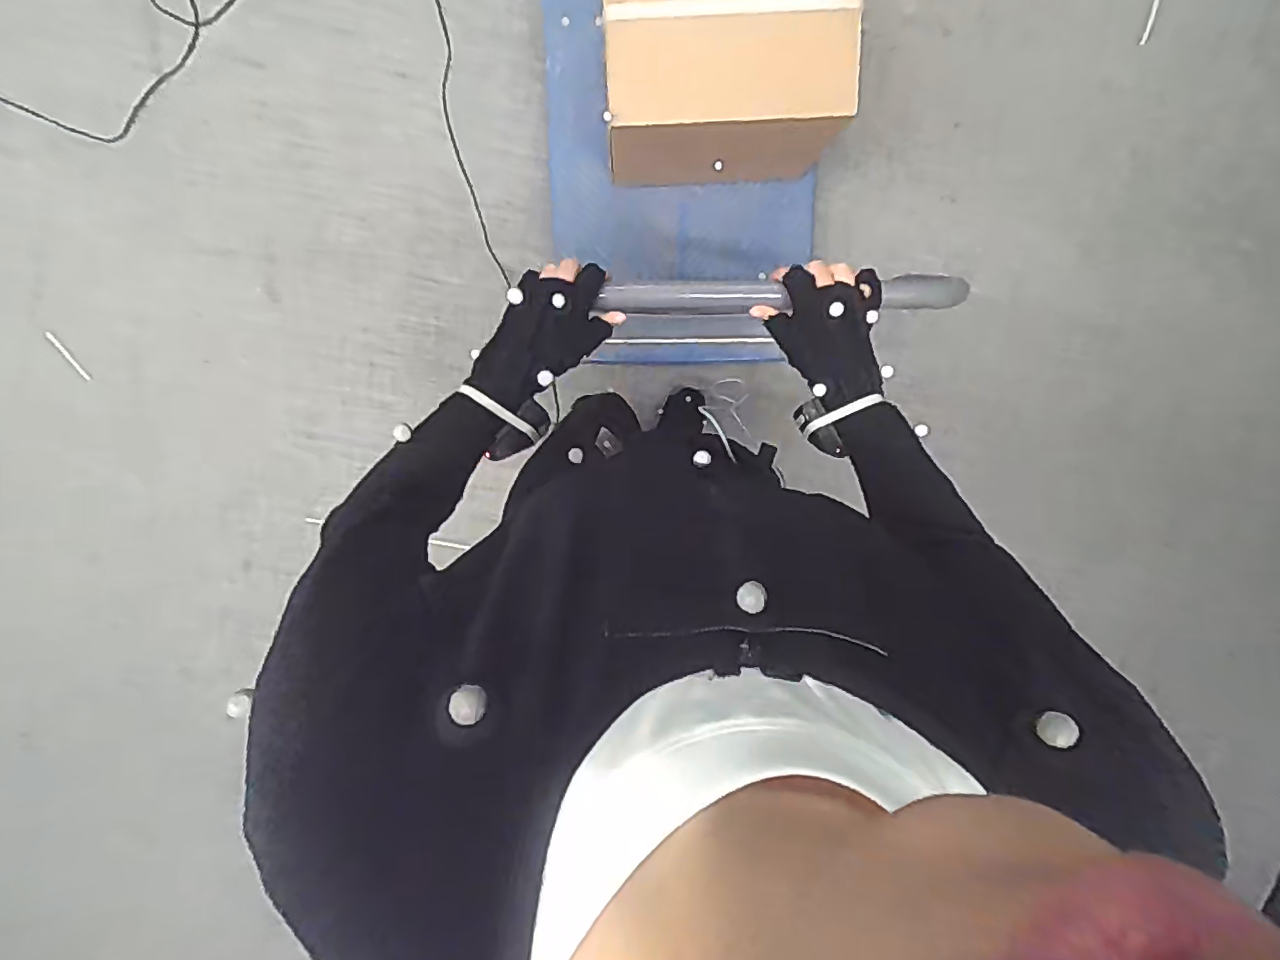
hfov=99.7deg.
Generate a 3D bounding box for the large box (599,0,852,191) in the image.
[{"bbox_3d":[0.138,-0.754,1.000,0.408,0.320,0.320,-3,101,0],"label":"large box"}]
